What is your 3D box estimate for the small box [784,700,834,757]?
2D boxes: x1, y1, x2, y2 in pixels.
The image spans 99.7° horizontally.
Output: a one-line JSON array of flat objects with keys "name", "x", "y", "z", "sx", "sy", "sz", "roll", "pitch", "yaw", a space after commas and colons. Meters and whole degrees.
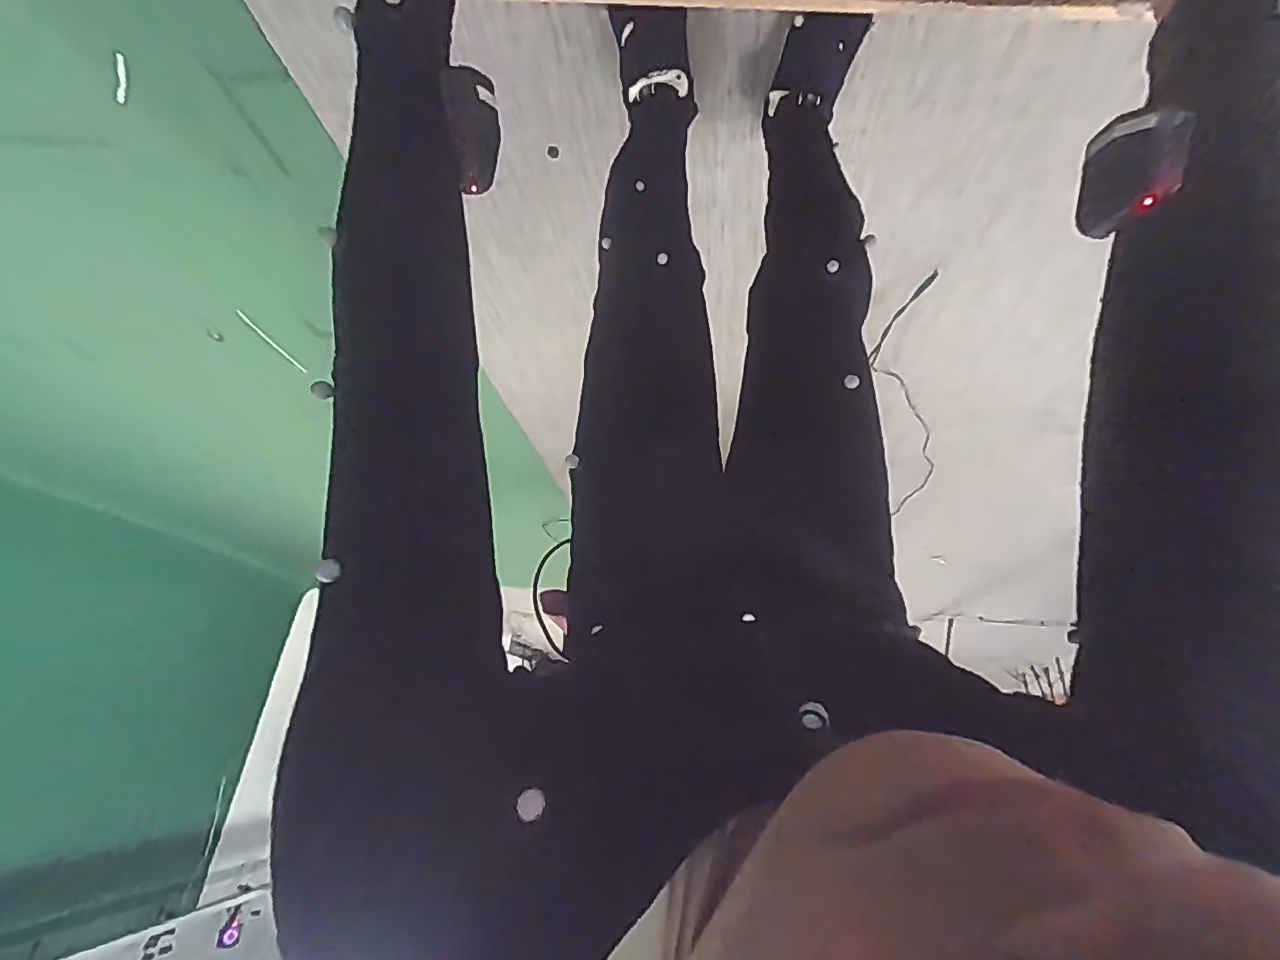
[{"name": "small box", "x": 0.605, "y": 0.888, "z": 1.941, "sx": 0.168, "sy": 0.176, "sz": 0.179, "roll": -1, "pitch": 154, "yaw": 16}]
